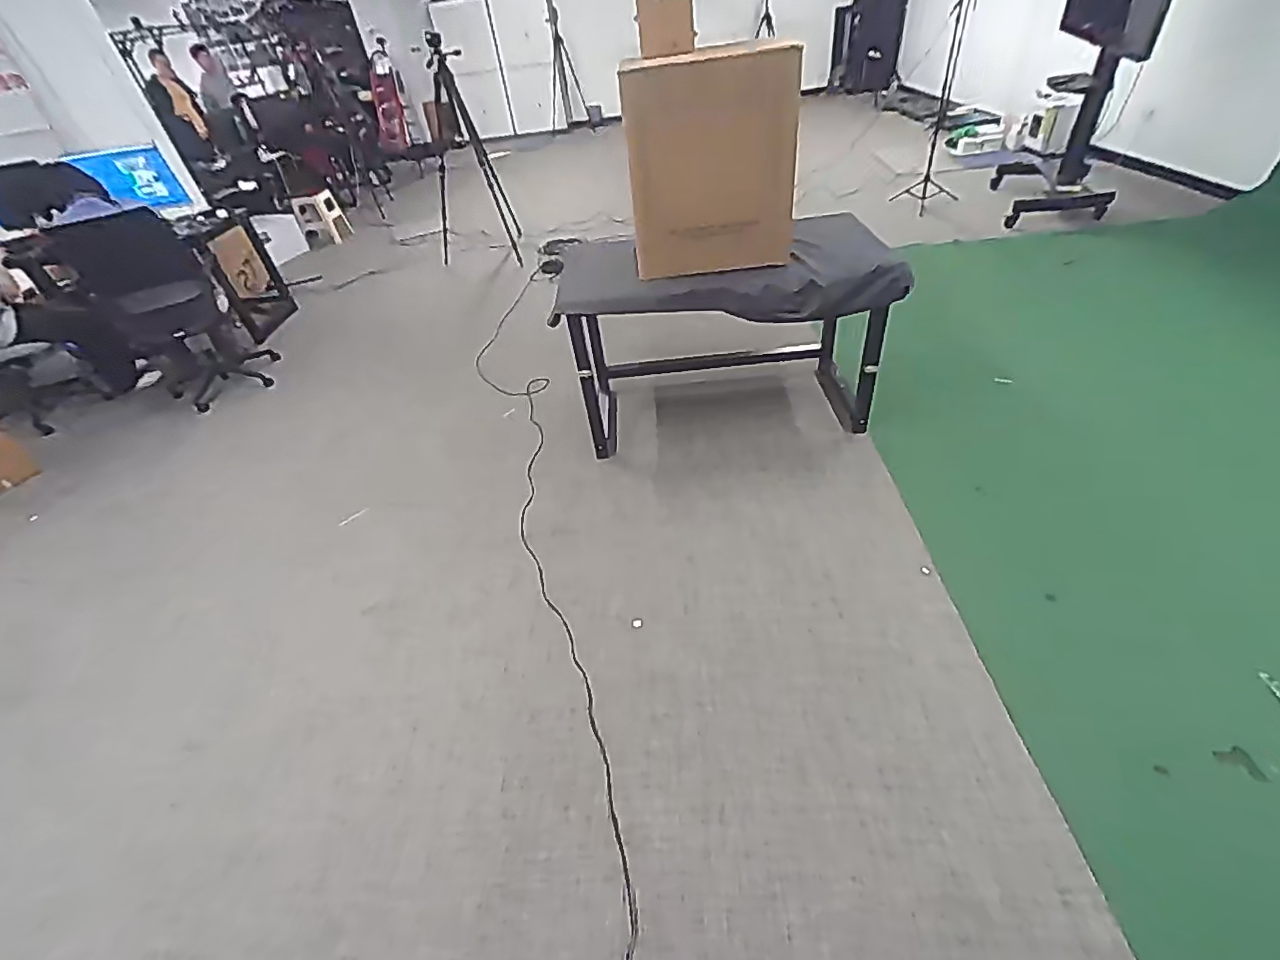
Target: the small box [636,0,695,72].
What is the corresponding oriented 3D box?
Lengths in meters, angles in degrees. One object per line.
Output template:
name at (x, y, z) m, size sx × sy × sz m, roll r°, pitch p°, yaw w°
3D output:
small box at (0.081, -1.386, 1.682) m, size 0.168 × 0.176 × 0.179 m, roll -5°, pitch 39°, yaw 5°
